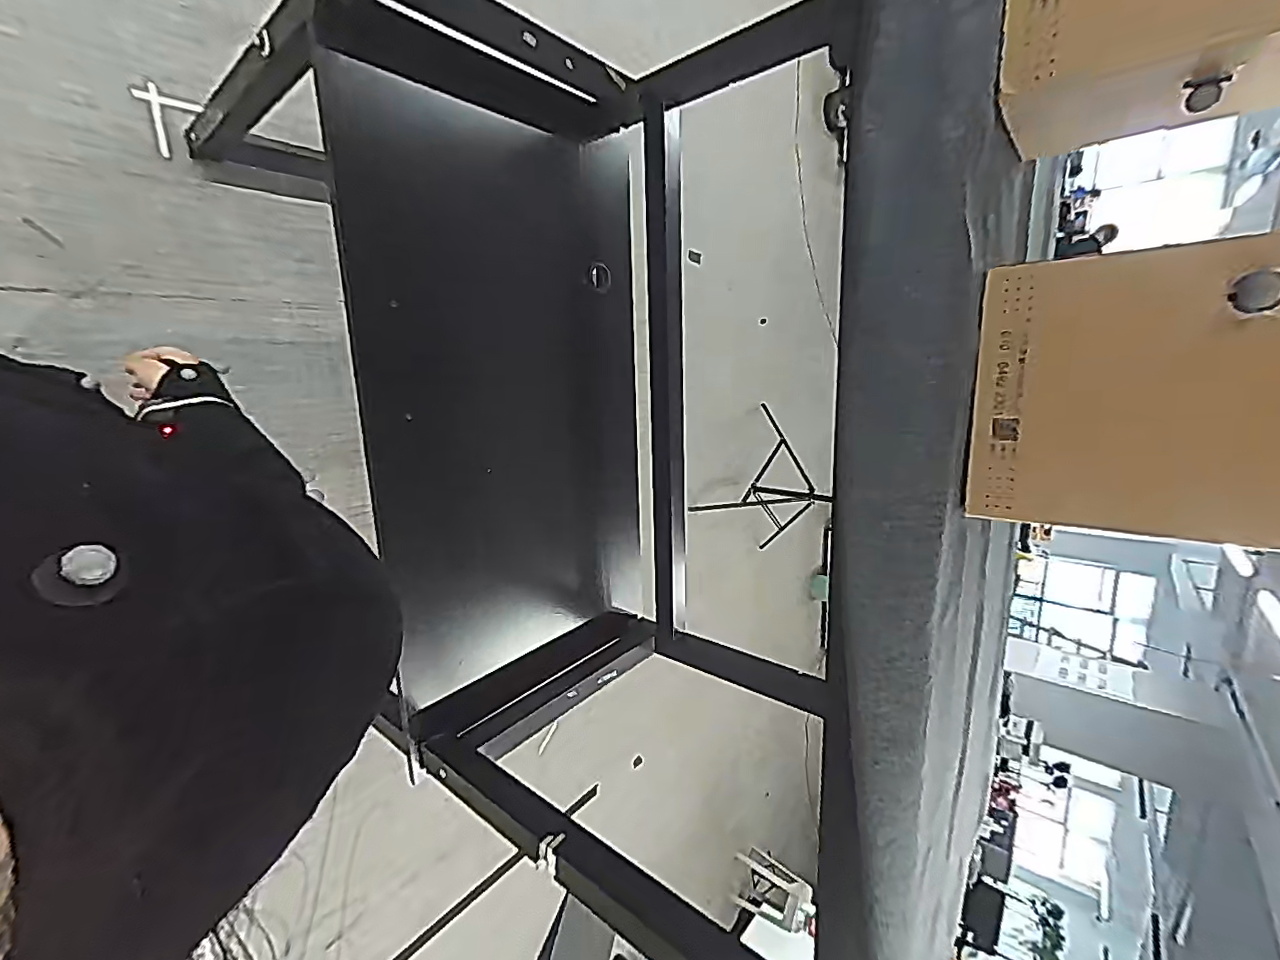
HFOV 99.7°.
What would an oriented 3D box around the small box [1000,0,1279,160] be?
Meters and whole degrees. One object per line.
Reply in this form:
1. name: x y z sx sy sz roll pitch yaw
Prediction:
1. small box: 0.330 -0.314 0.325 0.179 0.176 0.168 -22 114 -48
